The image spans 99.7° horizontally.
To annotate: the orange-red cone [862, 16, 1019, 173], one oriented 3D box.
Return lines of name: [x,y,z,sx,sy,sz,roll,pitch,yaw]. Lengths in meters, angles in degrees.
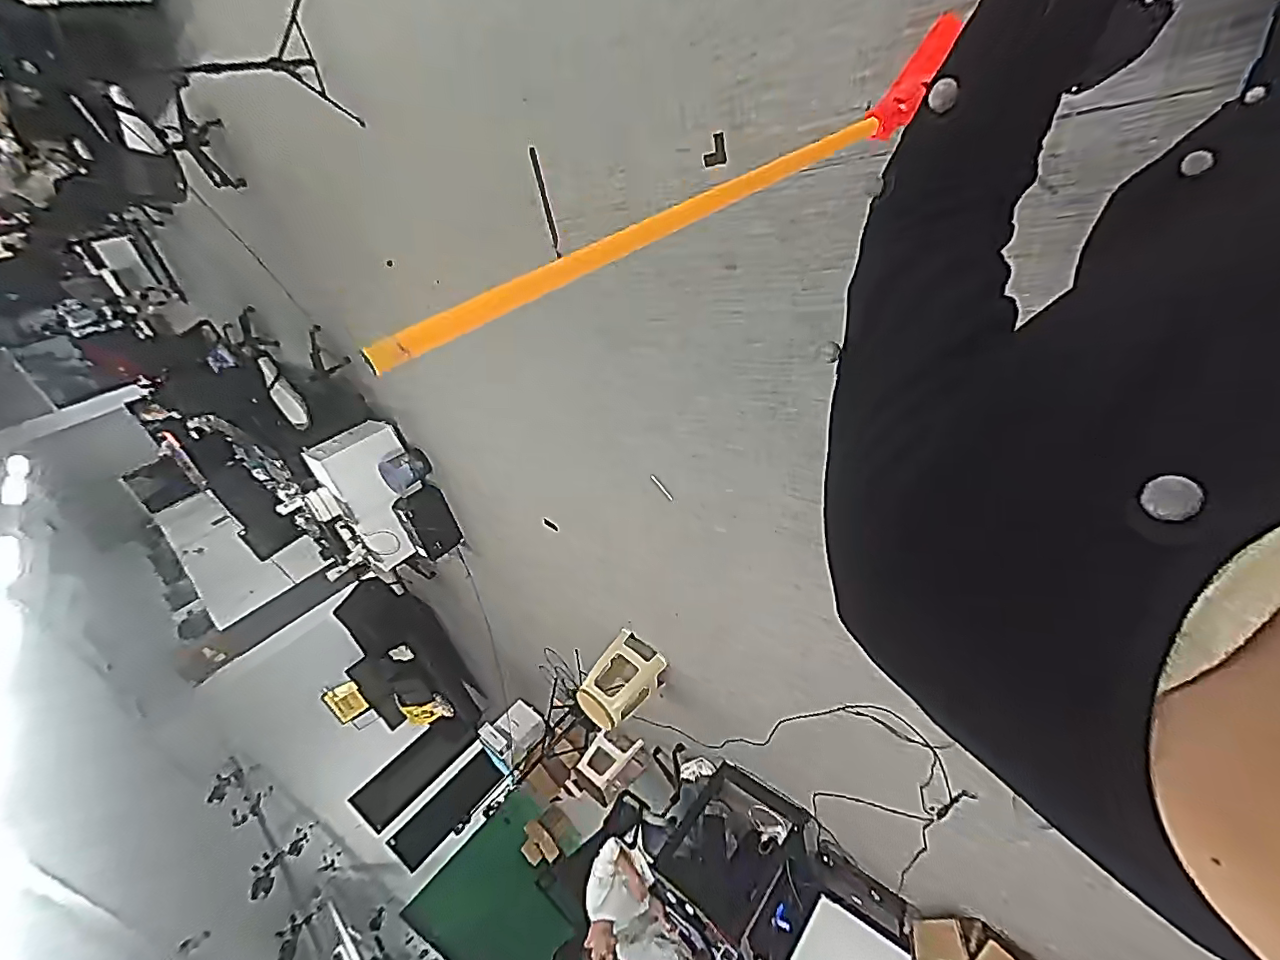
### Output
orange-red cone: [0.470,-0.643,0.938,0.198,0.360,0.199,47,144,5]
